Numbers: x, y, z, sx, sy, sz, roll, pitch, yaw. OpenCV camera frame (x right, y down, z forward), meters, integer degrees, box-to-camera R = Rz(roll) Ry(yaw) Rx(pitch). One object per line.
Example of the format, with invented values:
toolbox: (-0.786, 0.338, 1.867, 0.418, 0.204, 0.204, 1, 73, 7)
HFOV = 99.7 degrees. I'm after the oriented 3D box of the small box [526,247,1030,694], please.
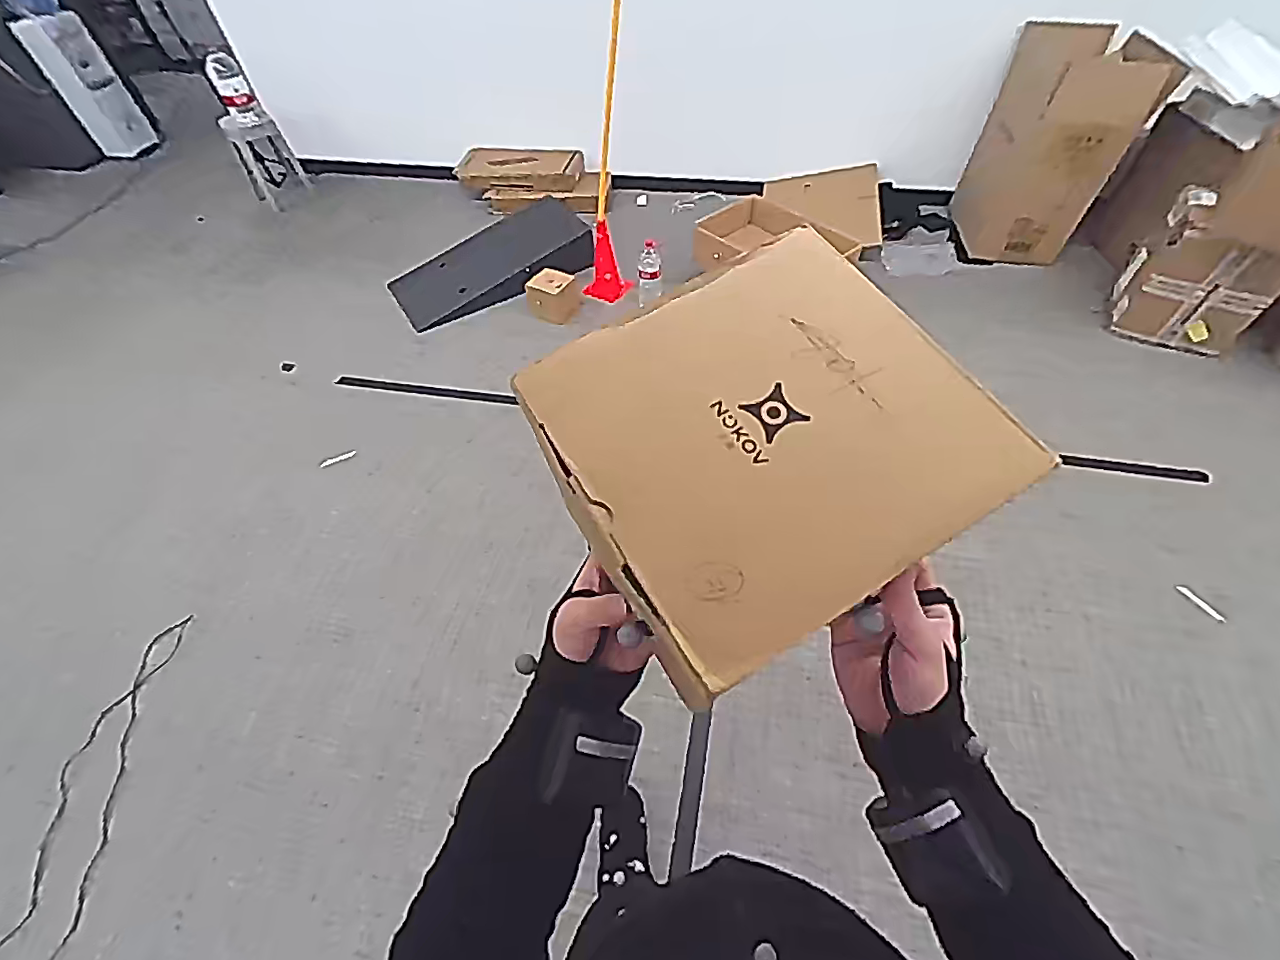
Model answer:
small box: (0.061, 0.009, 0.321, 0.179, 0.176, 0.168, -30, 69, -11)
